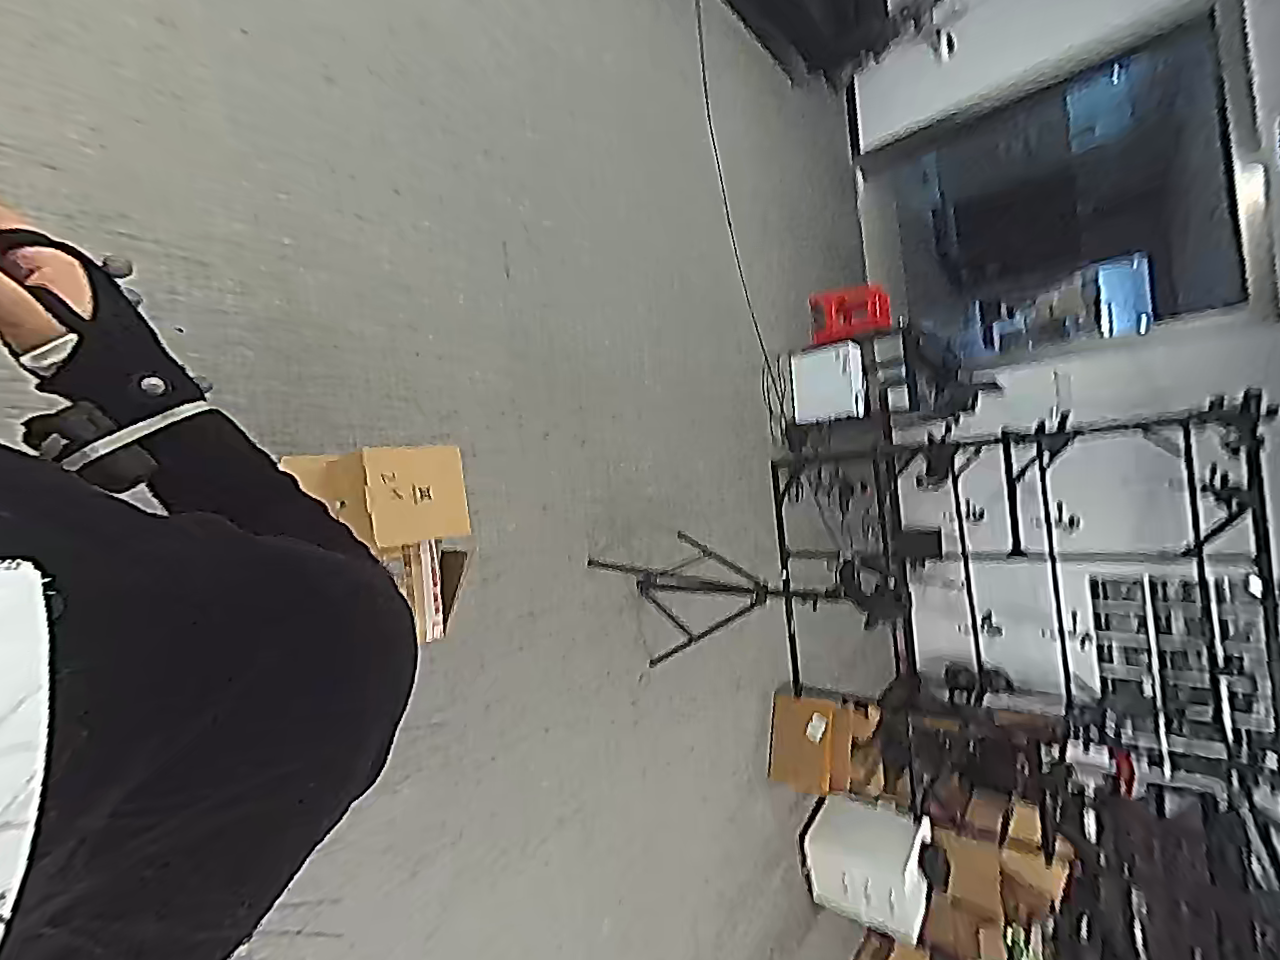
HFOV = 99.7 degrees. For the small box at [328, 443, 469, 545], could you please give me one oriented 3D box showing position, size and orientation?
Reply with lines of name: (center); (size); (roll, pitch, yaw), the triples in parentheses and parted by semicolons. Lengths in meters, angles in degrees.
small box: (-0.442, 0.024, 0.990); (0.179, 0.176, 0.168); (-6, 88, -48)
